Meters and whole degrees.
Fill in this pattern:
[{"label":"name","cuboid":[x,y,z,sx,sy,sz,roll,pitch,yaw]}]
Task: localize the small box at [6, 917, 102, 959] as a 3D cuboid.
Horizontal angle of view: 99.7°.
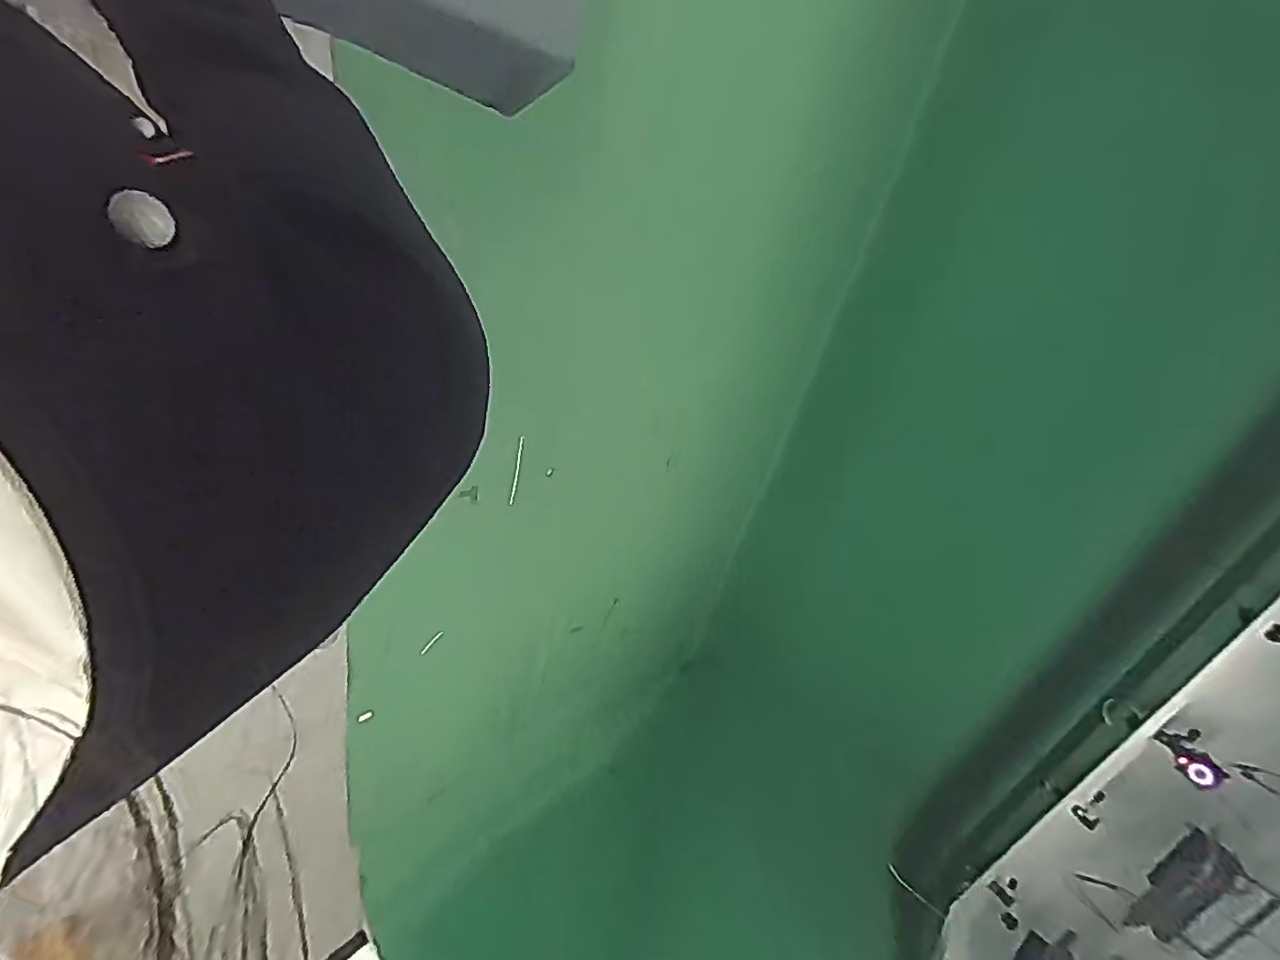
[{"label":"small box","cuboid":[-1.736,1.454,1.593,0.179,0.176,0.168,-32,143,-38]}]
